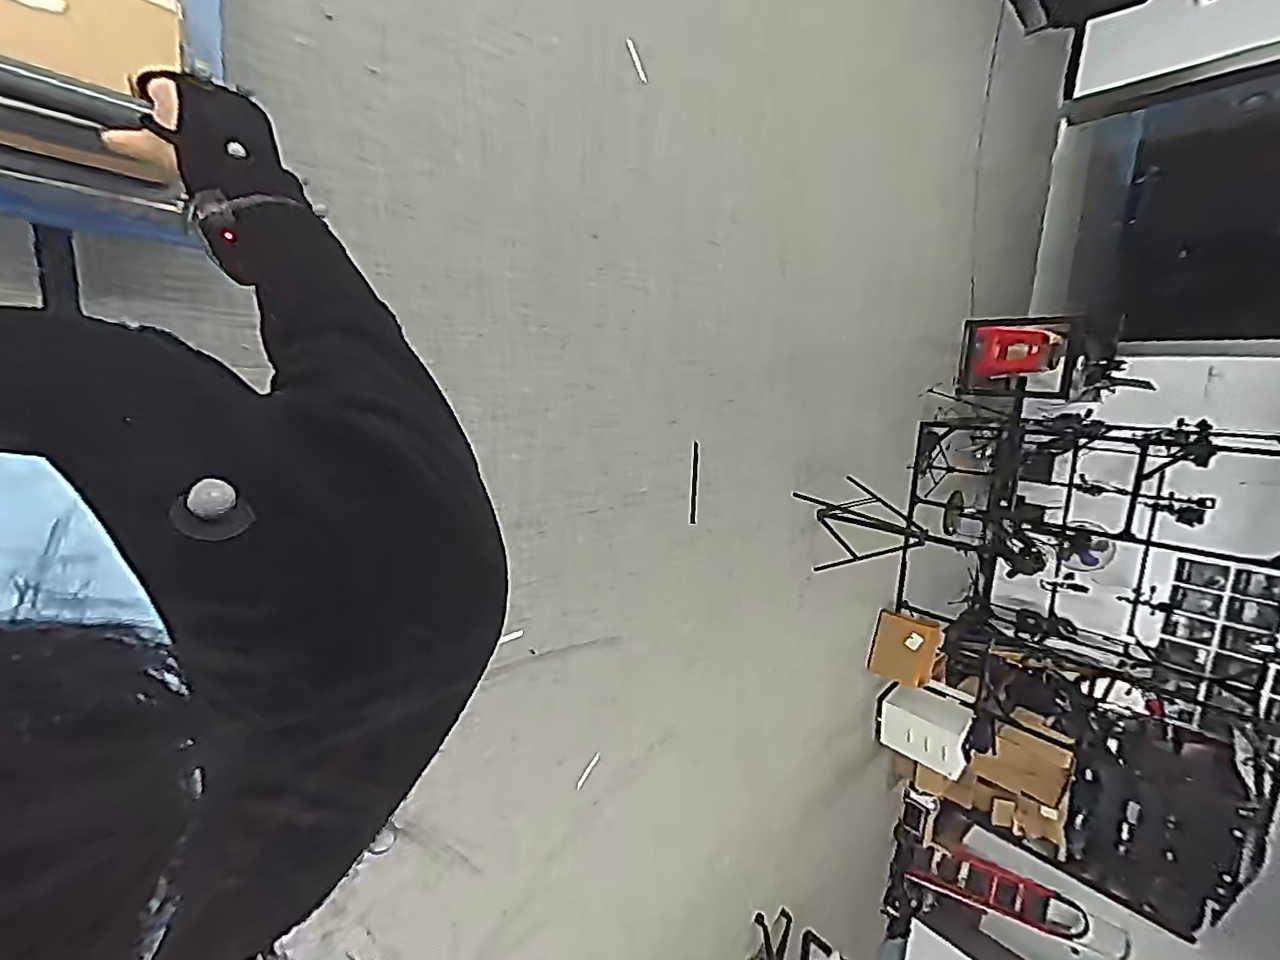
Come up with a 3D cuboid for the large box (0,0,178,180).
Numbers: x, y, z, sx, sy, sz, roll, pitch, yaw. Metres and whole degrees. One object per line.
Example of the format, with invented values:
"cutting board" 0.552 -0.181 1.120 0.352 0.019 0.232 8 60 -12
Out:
"large box" -0.868 -0.634 0.680 0.408 0.320 0.320 -4 103 -45
